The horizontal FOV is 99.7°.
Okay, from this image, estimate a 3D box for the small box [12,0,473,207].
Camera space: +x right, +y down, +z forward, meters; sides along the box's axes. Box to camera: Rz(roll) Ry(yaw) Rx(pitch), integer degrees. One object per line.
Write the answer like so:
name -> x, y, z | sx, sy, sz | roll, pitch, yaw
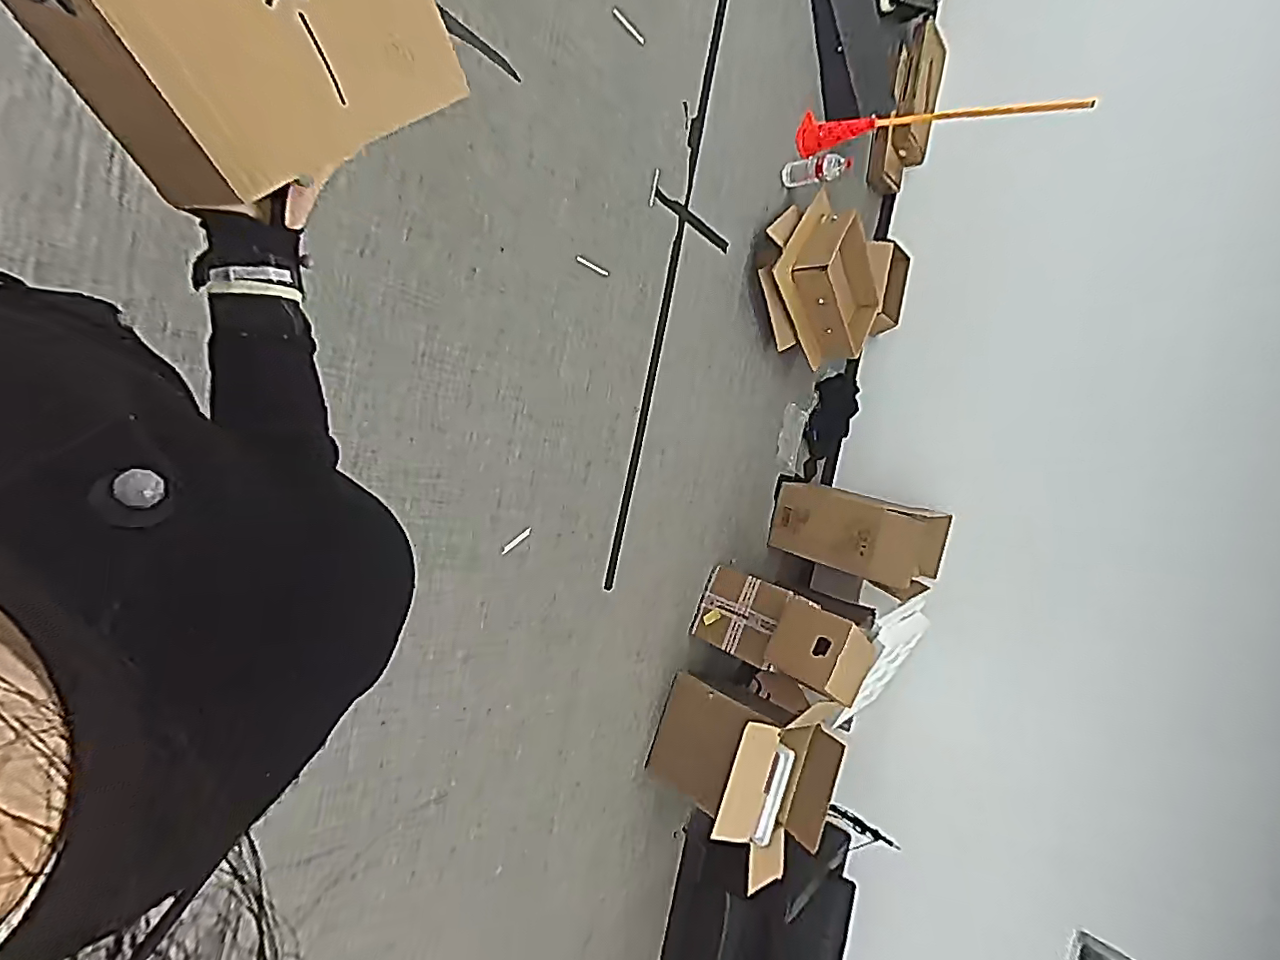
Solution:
small box -> -0.245, -0.283, 0.322 | 0.168, 0.176, 0.179 | -47, 139, -26
